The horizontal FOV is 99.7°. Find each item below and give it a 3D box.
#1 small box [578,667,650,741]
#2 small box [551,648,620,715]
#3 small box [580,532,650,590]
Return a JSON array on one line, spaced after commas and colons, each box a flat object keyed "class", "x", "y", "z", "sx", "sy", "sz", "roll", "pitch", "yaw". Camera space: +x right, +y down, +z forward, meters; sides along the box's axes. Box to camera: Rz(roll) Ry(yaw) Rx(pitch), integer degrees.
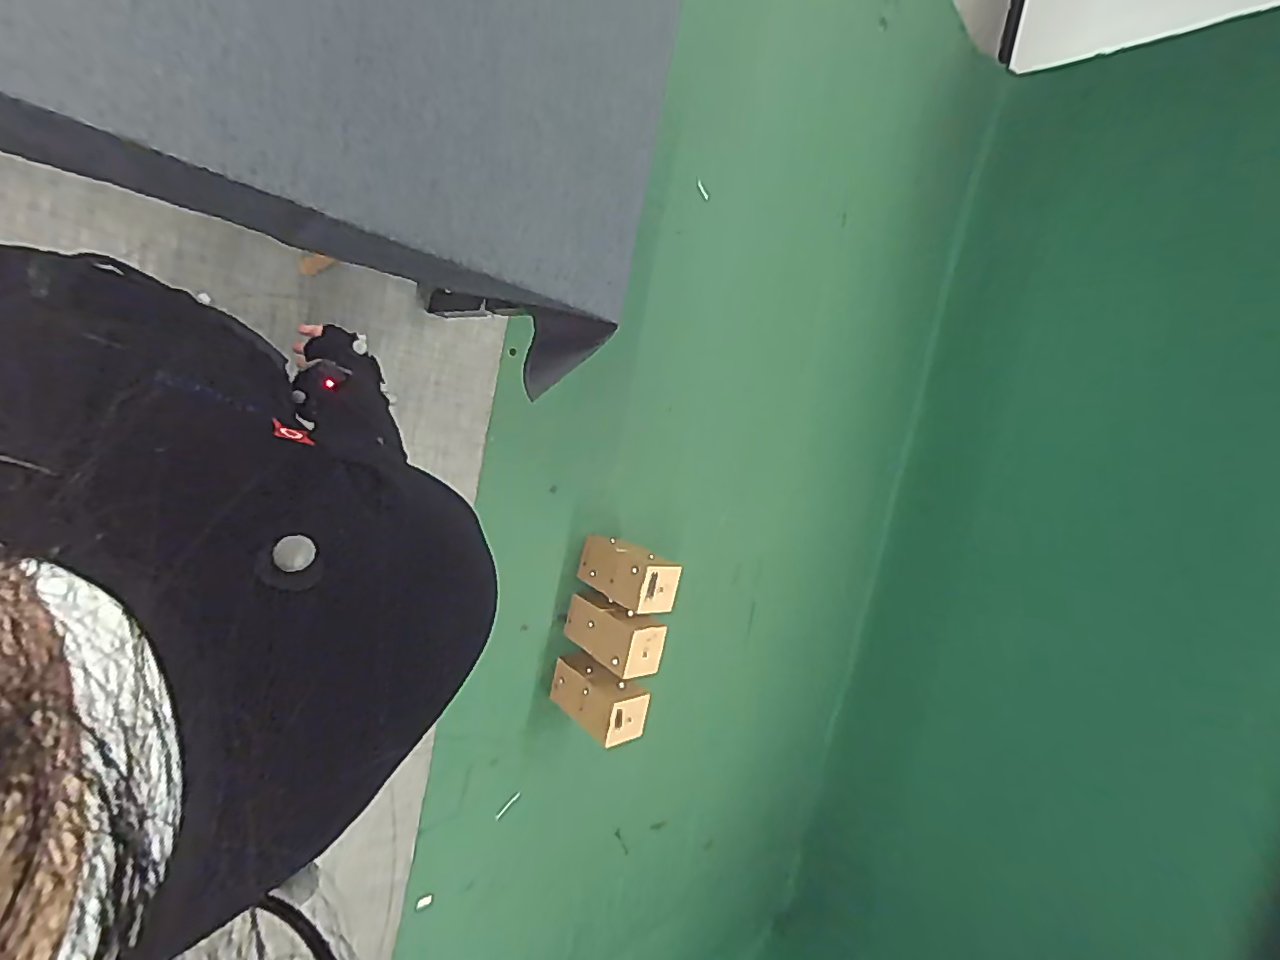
[{"class": "small box", "x": -0.096, "y": 0.785, "z": 1.915, "sx": 0.179, "sy": 0.176, "sz": 0.168, "roll": 6, "pitch": 99, "yaw": -44}, {"class": "small box", "x": -0.204, "y": 0.750, "z": 2.033, "sx": 0.179, "sy": 0.176, "sz": 0.168, "roll": 7, "pitch": 98, "yaw": -43}, {"class": "small box", "x": -0.098, "y": 0.298, "z": 1.998, "sx": 0.179, "sy": 0.176, "sz": 0.168, "roll": 13, "pitch": 93, "yaw": -44}]
